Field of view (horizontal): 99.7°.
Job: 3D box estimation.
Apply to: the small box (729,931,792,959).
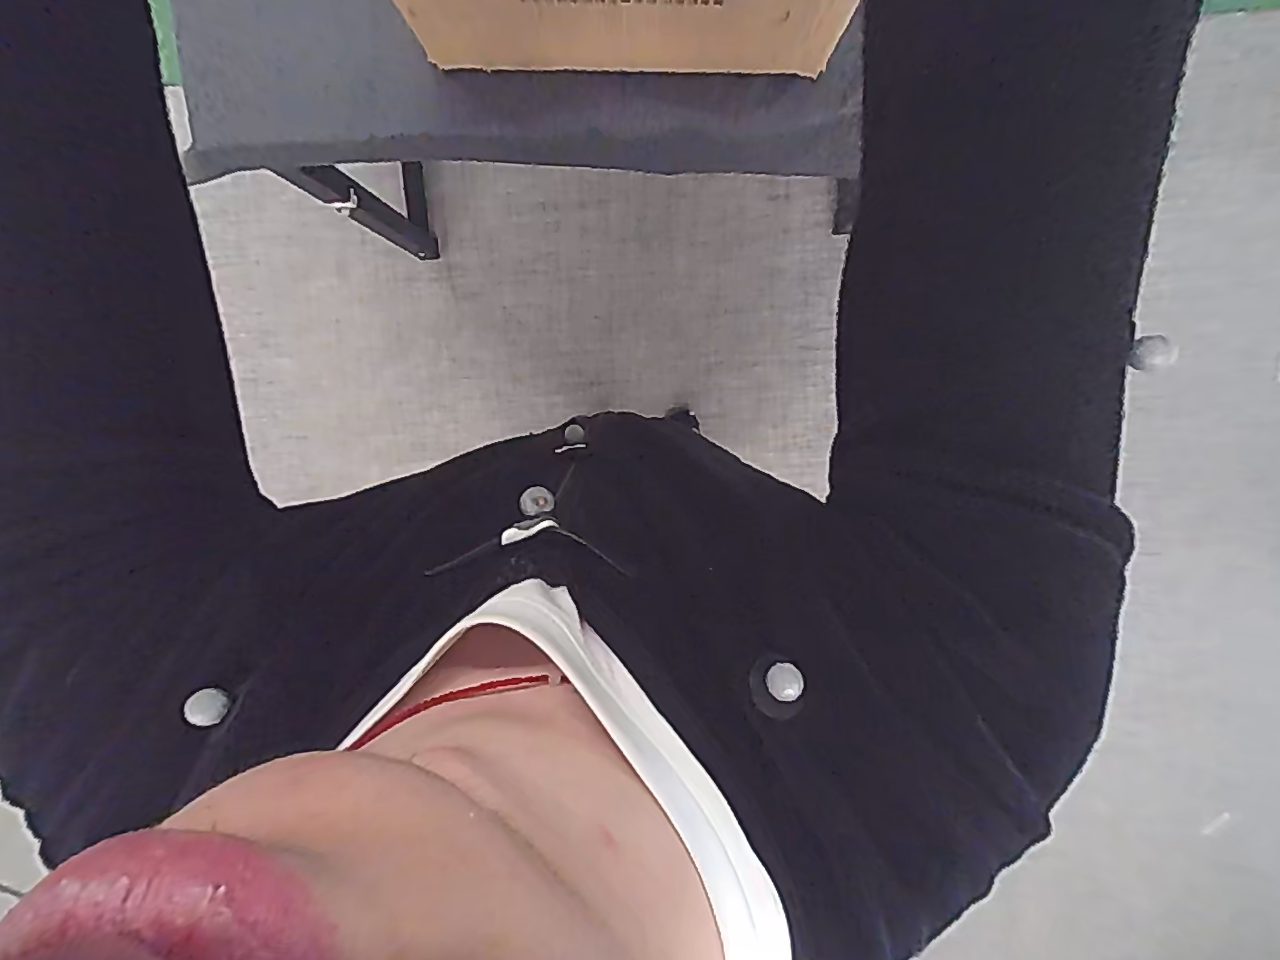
[{"bbox_3d":[0.412,1.620,1.739,0.179,0.176,0.168,-37,99,5],"label":"small box"}]
